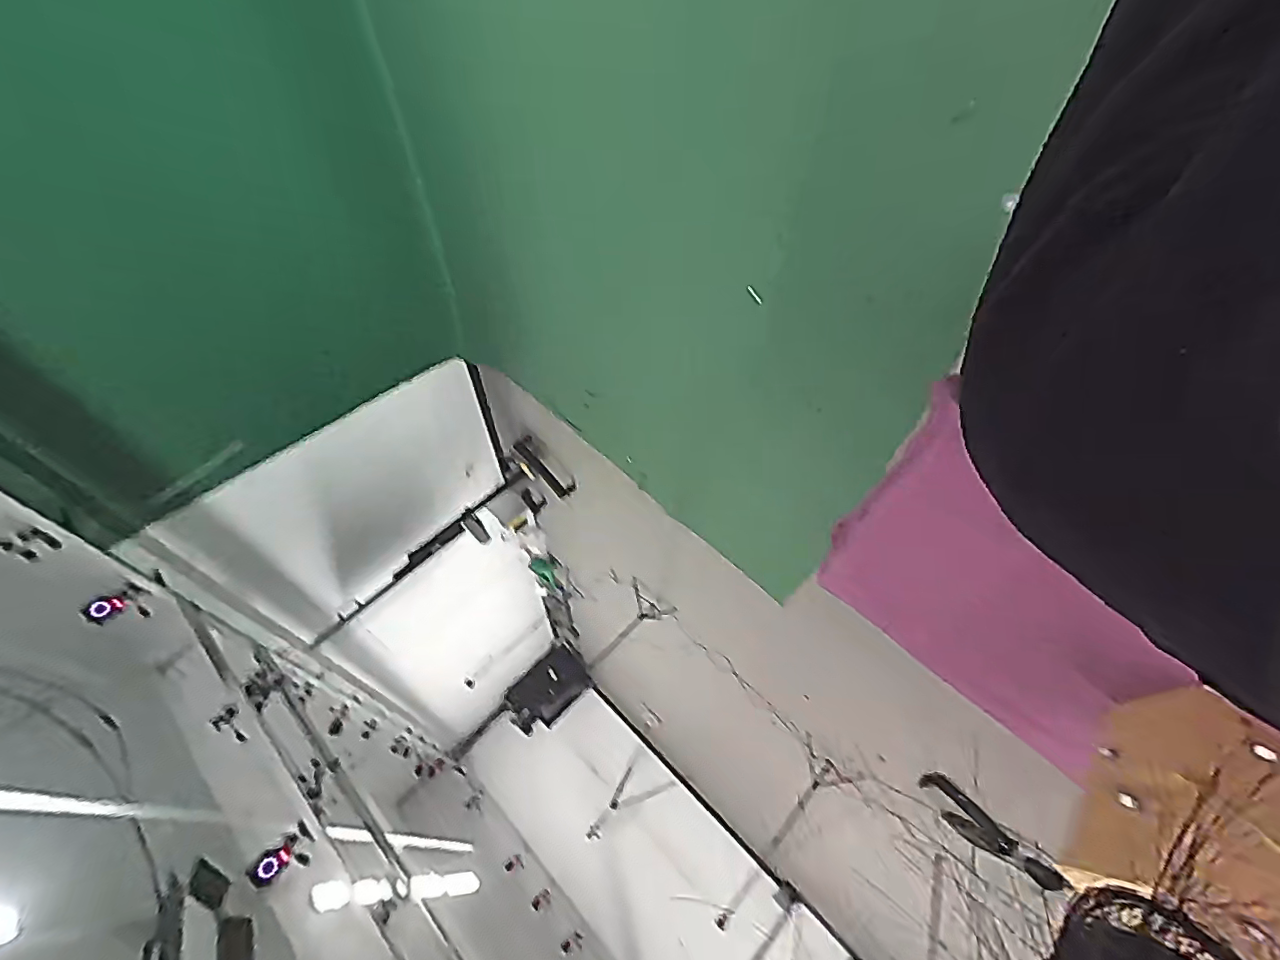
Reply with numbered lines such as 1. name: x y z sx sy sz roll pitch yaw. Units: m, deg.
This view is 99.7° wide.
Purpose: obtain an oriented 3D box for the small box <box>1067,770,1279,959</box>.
1. small box: 0.760 0.539 0.745 0.179 0.176 0.168 45 155 11

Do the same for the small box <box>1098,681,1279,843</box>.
1. small box: 0.866 0.439 0.820 0.168 0.176 0.179 40 153 20
